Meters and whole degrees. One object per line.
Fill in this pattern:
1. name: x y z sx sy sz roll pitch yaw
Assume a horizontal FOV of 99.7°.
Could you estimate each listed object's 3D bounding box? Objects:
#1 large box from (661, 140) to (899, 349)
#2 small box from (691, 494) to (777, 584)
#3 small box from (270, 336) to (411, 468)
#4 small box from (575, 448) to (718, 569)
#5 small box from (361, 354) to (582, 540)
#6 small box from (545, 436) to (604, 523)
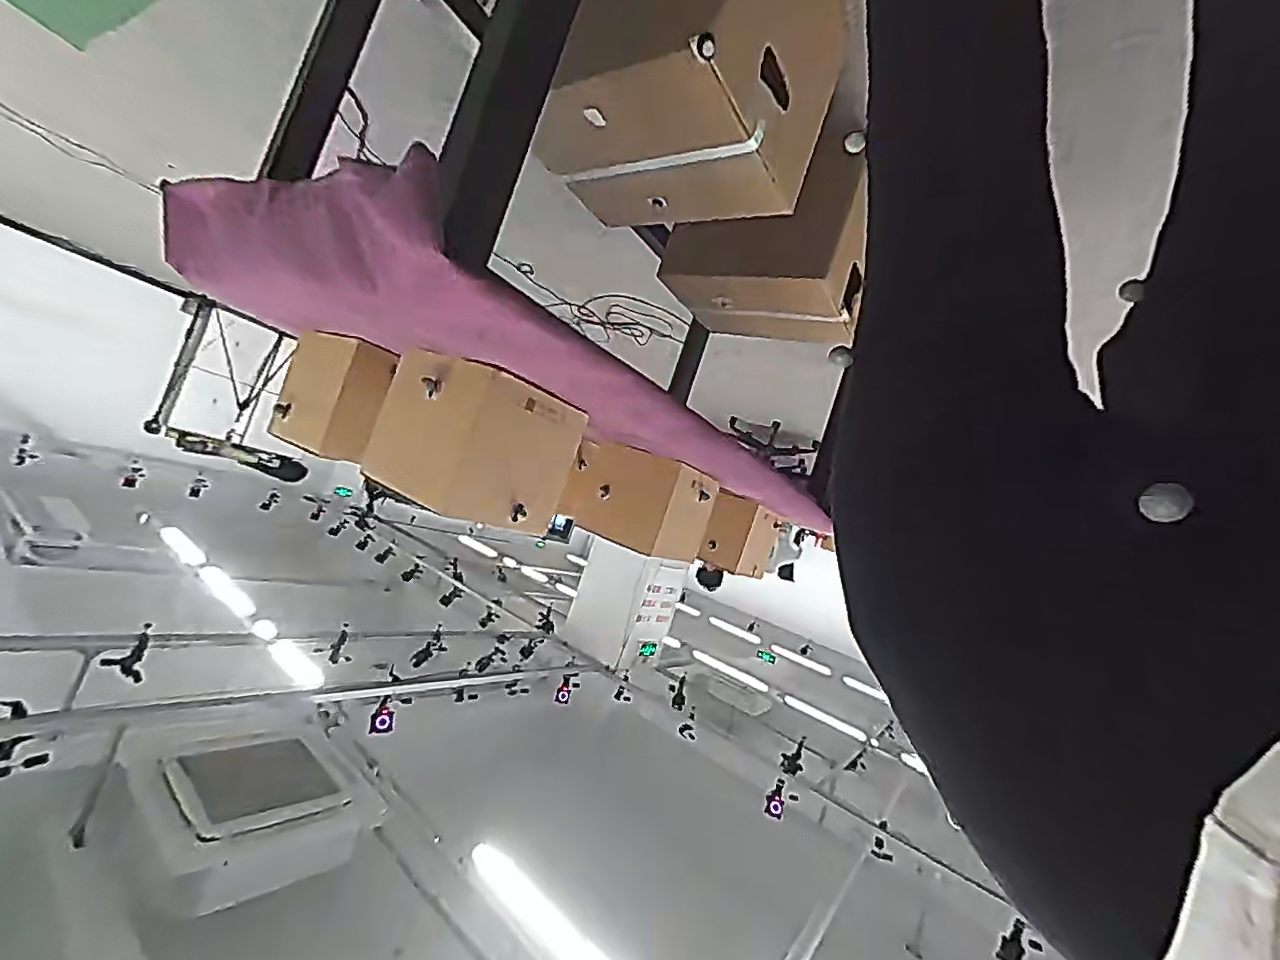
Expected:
1. large box: 0.330 -0.529 1.263 0.408 0.320 0.320 18 177 36
2. small box: 0.210 0.134 1.290 0.179 0.176 0.168 19 177 37
3. small box: -0.425 -0.110 0.838 0.179 0.176 0.168 16 178 34
4. small box: 0.016 0.049 0.996 0.179 0.176 0.168 18 178 34
5. small box: -0.202 -0.042 0.672 0.179 0.176 0.168 20 179 34
6. small box: -0.205 -0.022 1.143 0.179 0.176 0.168 16 175 34
